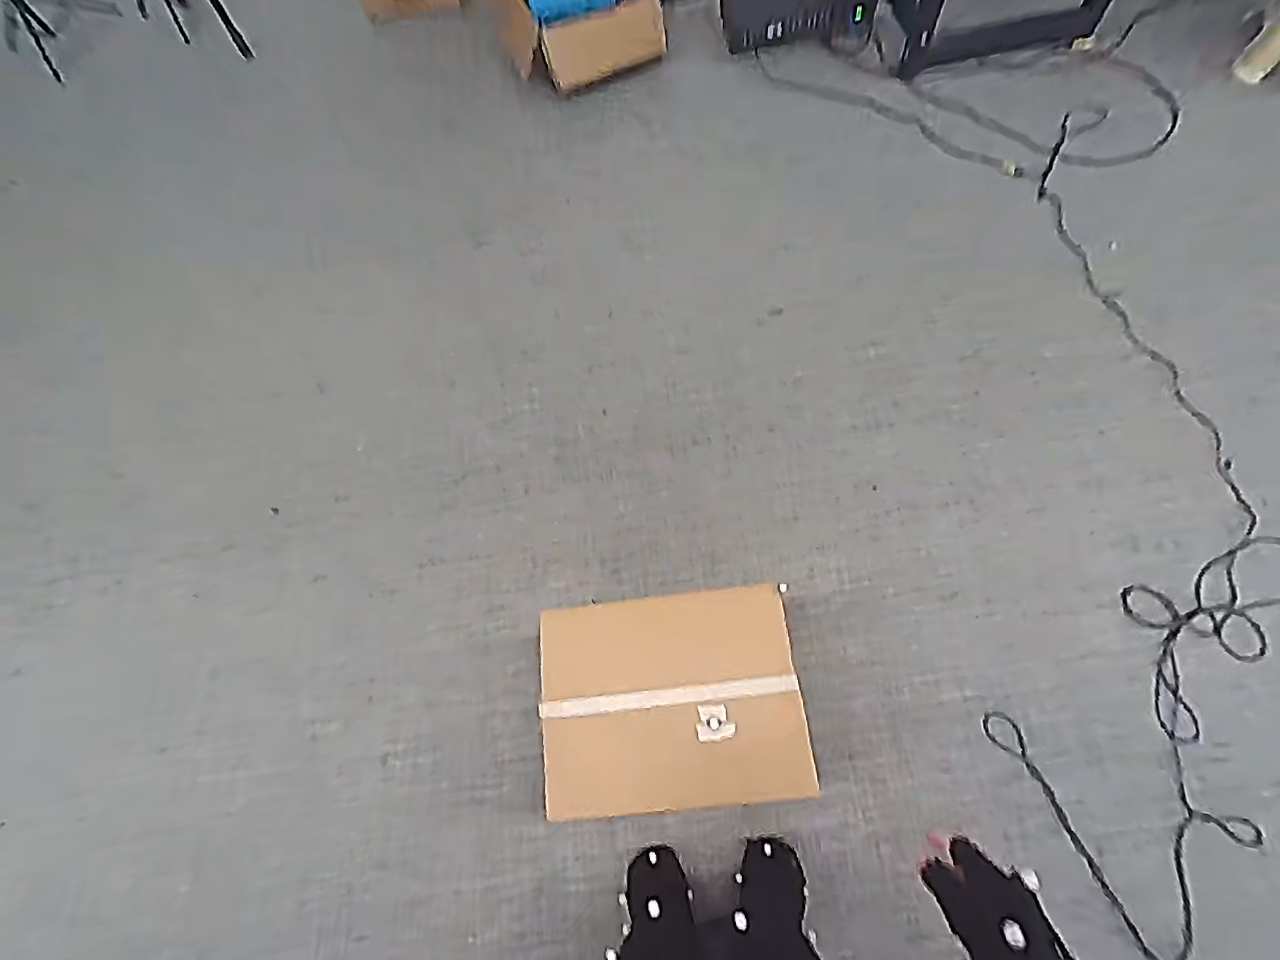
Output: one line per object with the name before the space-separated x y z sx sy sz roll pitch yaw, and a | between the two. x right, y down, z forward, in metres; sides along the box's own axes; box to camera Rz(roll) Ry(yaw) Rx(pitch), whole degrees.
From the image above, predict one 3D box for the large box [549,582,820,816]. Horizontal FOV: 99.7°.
large box | 0.069 0.395 0.997 0.408 0.320 0.320 -8 68 3
